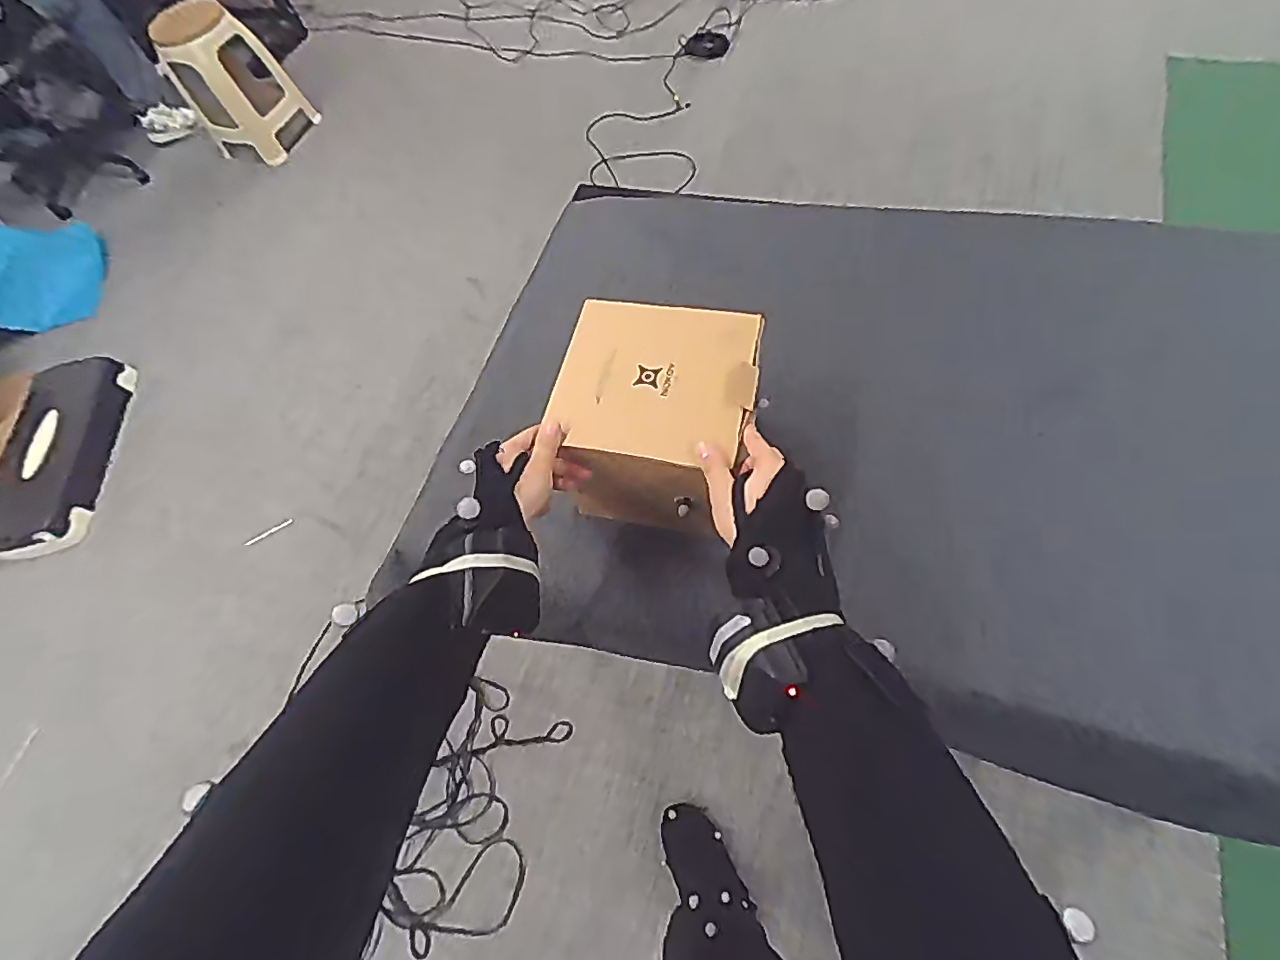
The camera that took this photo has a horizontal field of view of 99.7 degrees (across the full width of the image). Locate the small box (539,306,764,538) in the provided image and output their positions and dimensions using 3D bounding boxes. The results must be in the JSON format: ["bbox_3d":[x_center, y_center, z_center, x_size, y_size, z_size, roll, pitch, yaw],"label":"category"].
[{"bbox_3d":[0.024,-0.051,0.553,0.179,0.176,0.168,8,65,14],"label":"small box"}]
